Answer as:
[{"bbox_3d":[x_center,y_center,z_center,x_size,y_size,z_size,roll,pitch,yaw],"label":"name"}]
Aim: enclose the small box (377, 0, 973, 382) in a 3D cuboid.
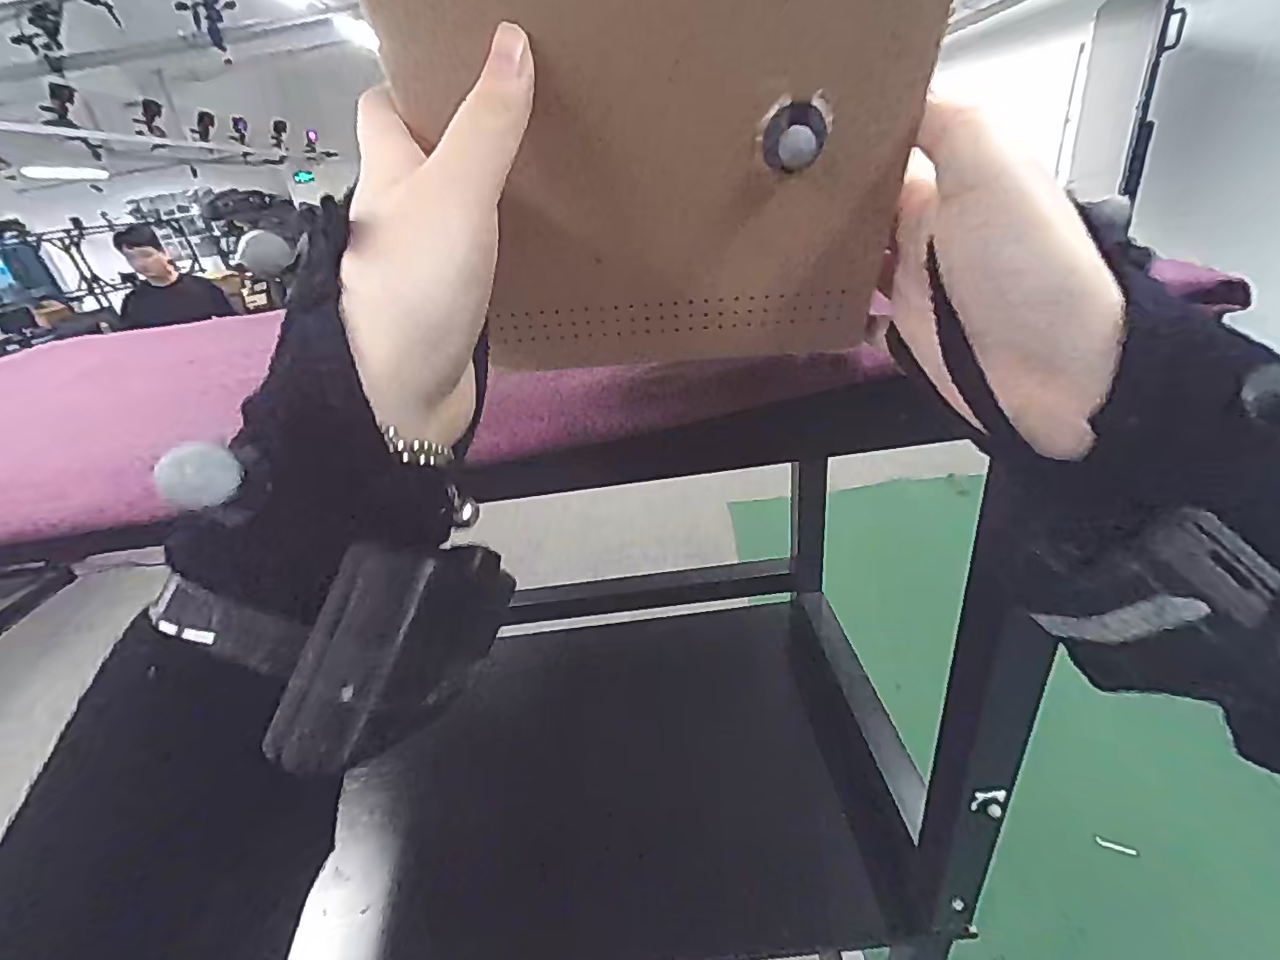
[{"bbox_3d":[0.013,-0.163,0.248,0.179,0.176,0.168,-4,48,3],"label":"small box"}]
